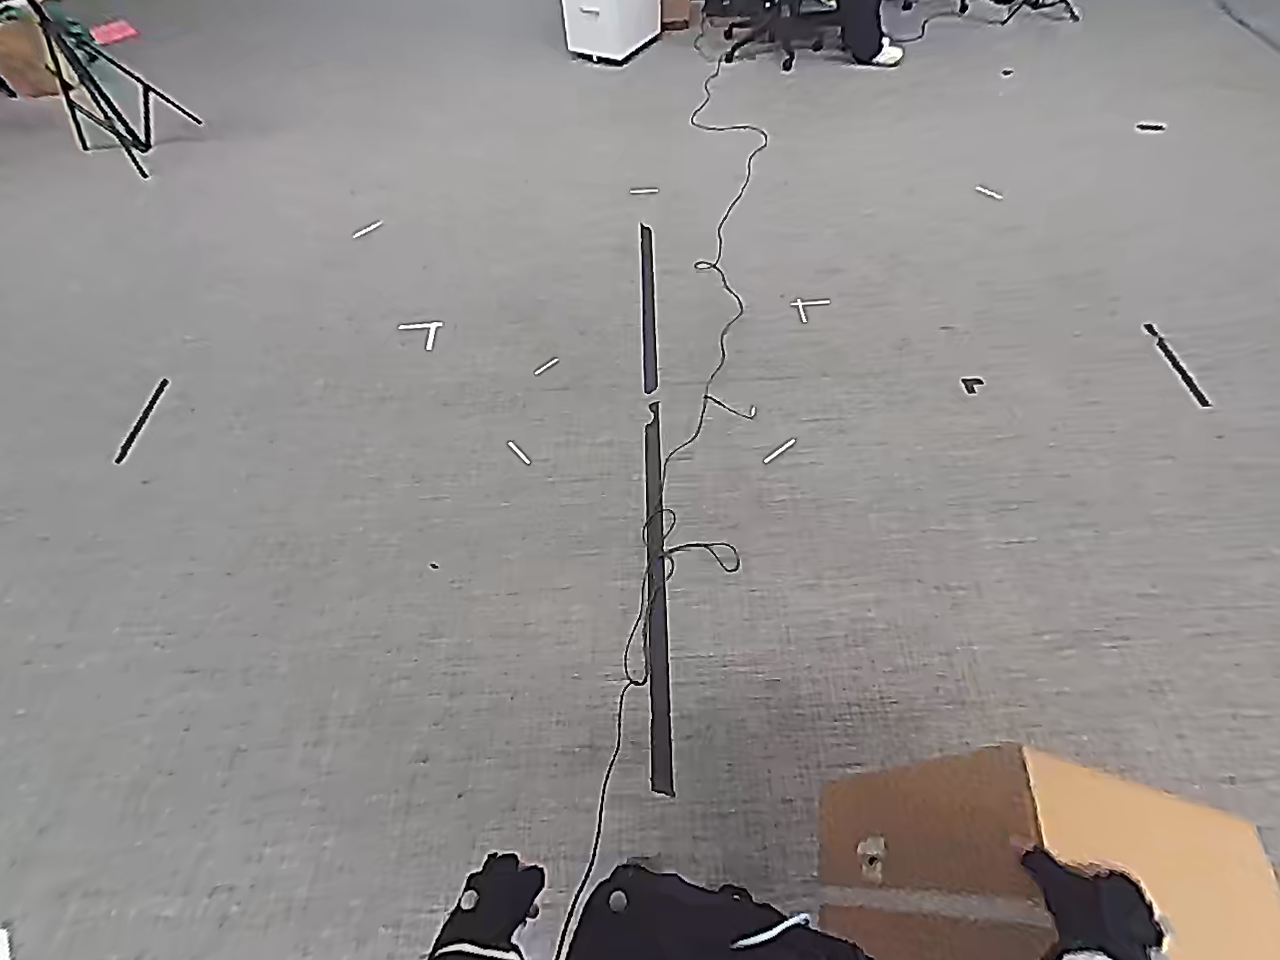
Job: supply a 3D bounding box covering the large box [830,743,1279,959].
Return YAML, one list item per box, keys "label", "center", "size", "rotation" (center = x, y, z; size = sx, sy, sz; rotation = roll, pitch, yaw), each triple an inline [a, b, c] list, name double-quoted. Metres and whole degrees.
- label: "large box"
  center: [0.487, 0.569, 0.679]
  size: [0.320, 0.408, 0.320]
  rotation: [19, 52, -3]
